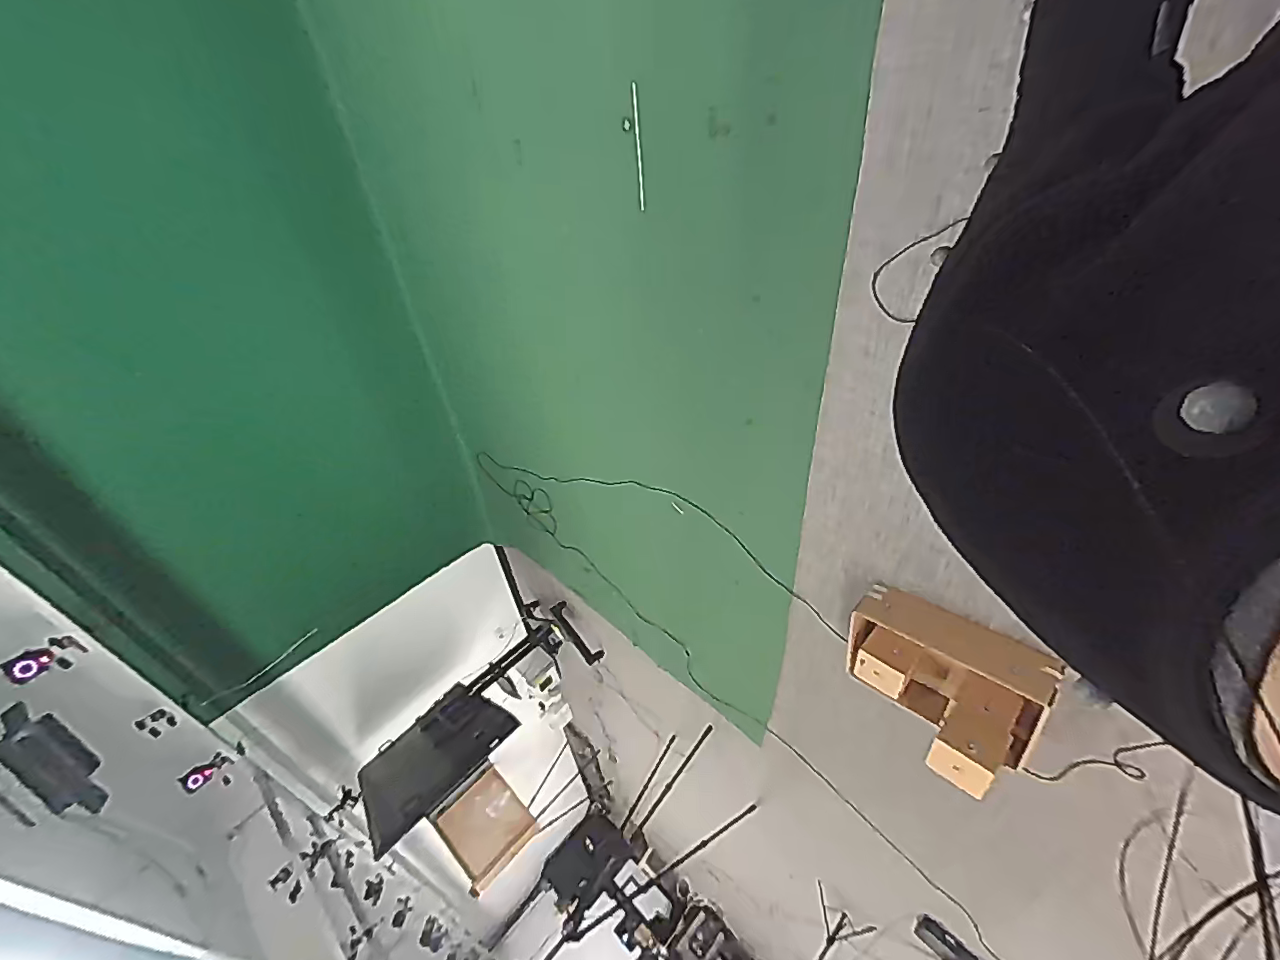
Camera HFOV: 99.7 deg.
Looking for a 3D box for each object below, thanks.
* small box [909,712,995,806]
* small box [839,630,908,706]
[{"bbox_3d":[1.011,0.895,1.750,0.179,0.176,0.168,28,137,37],"label":"small box"},{"bbox_3d":[0.885,0.703,2.042,0.179,0.176,0.168,28,138,35],"label":"small box"}]
